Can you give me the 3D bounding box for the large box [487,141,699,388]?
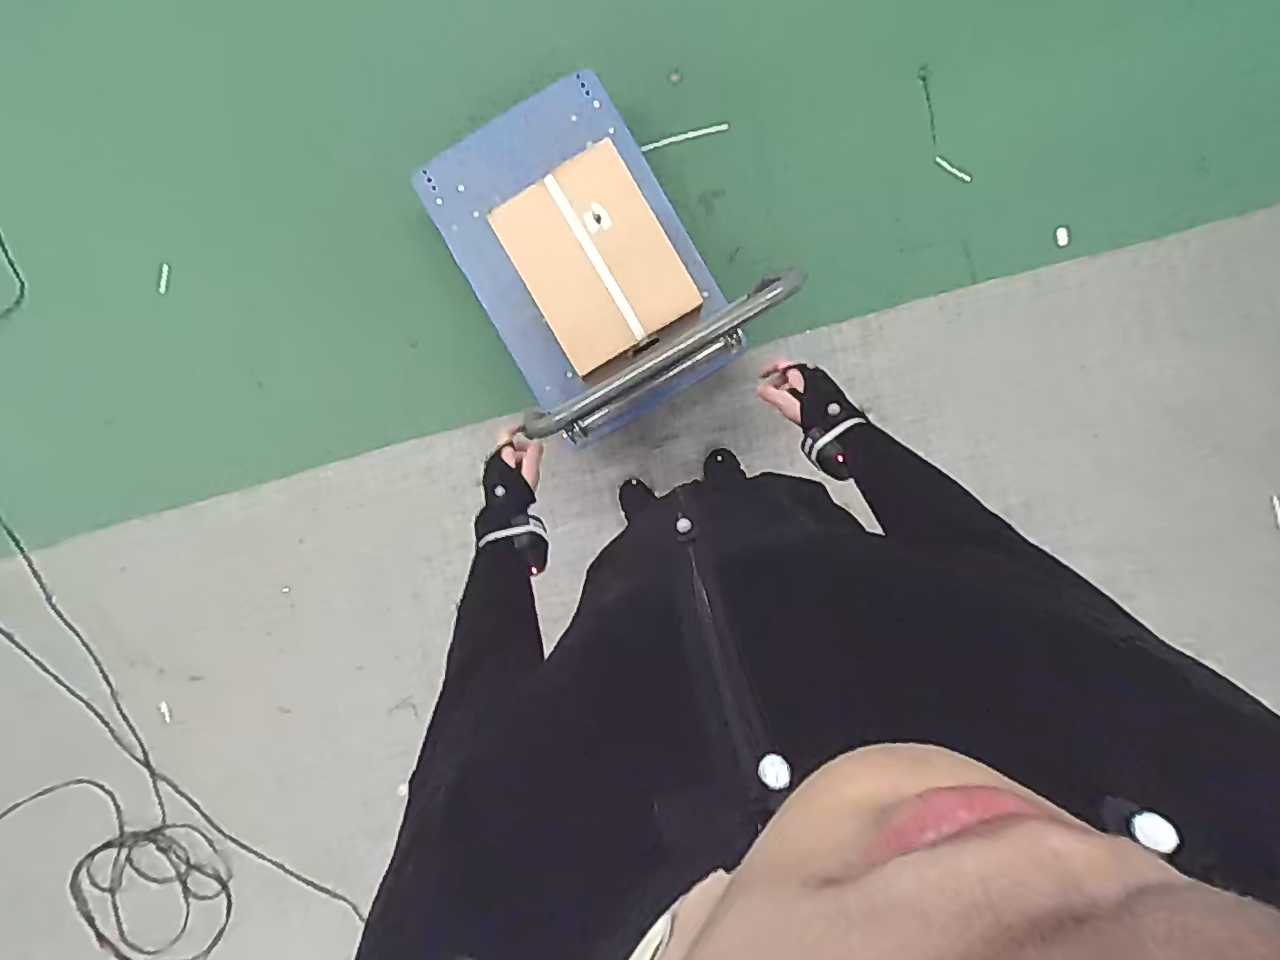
[{"bbox_3d":[-0.093,-0.484,1.307,0.320,0.320,0.408,-30,90,3],"label":"large box"}]
